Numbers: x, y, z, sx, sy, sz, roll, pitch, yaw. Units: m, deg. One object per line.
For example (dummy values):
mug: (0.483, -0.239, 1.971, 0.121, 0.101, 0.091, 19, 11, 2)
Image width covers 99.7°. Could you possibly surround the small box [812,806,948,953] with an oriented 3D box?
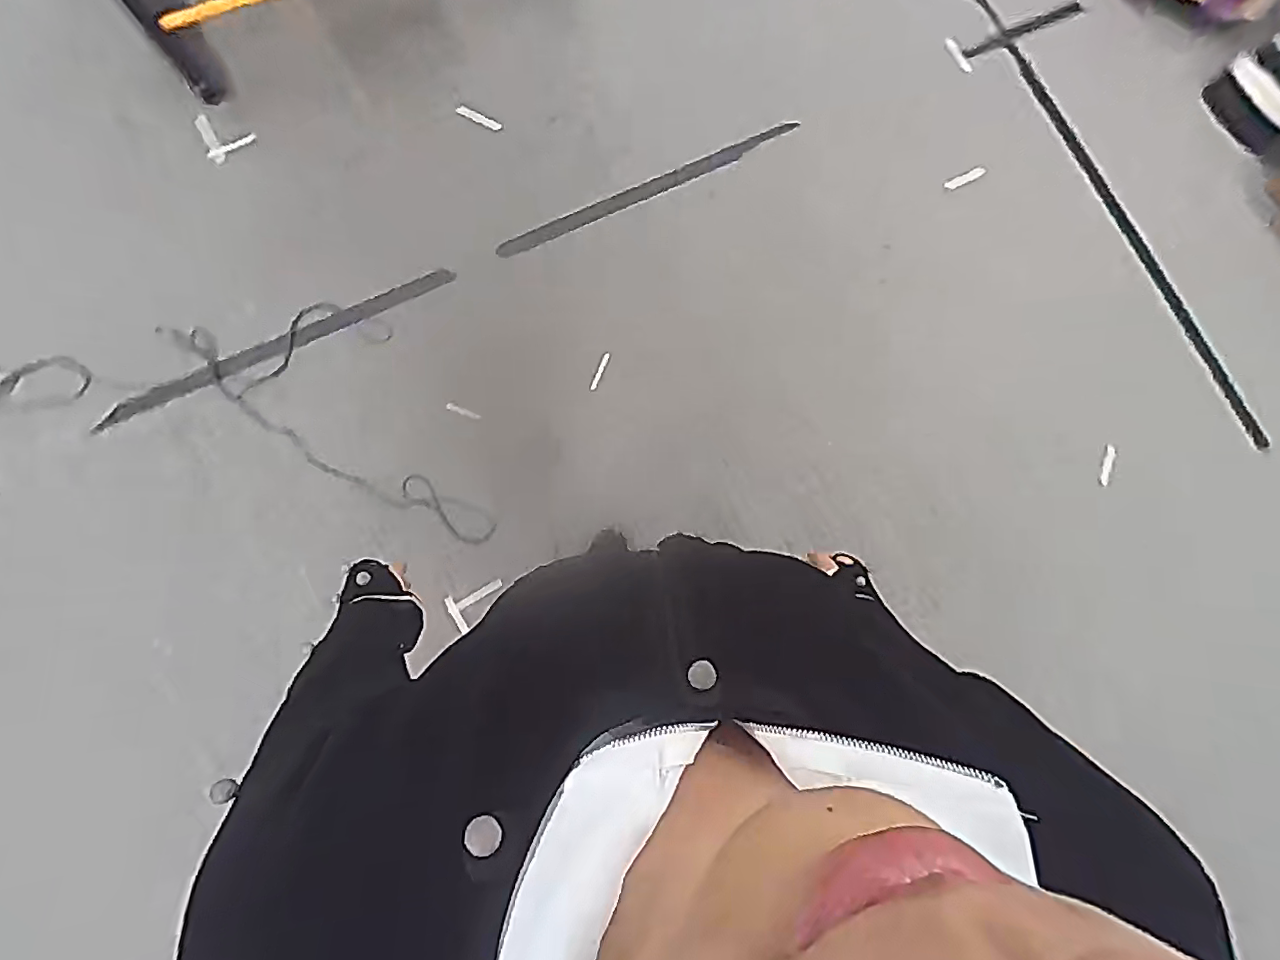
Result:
small box: (0.419, 0.681, 0.902, 0.168, 0.176, 0.179, -25, 83, -9)
